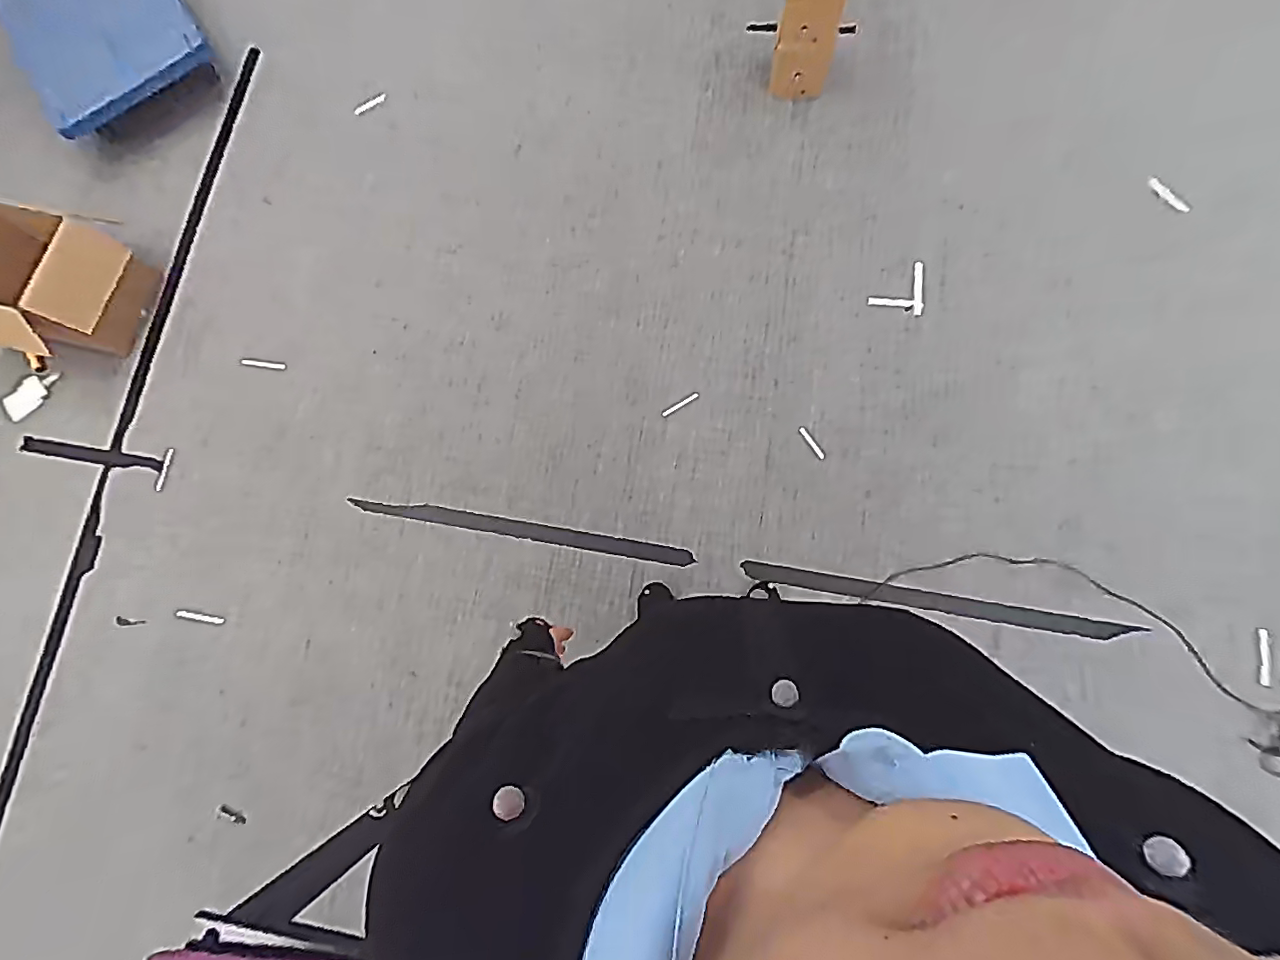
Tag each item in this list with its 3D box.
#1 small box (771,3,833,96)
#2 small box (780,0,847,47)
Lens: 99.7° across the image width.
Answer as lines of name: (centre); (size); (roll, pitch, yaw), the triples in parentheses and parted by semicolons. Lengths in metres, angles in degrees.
small box: (0.517, -1.367, 1.724); (0.168, 0.176, 0.179); (6, 79, 6)
small box: (0.508, -1.407, 1.566); (0.168, 0.176, 0.179); (8, 80, 7)
